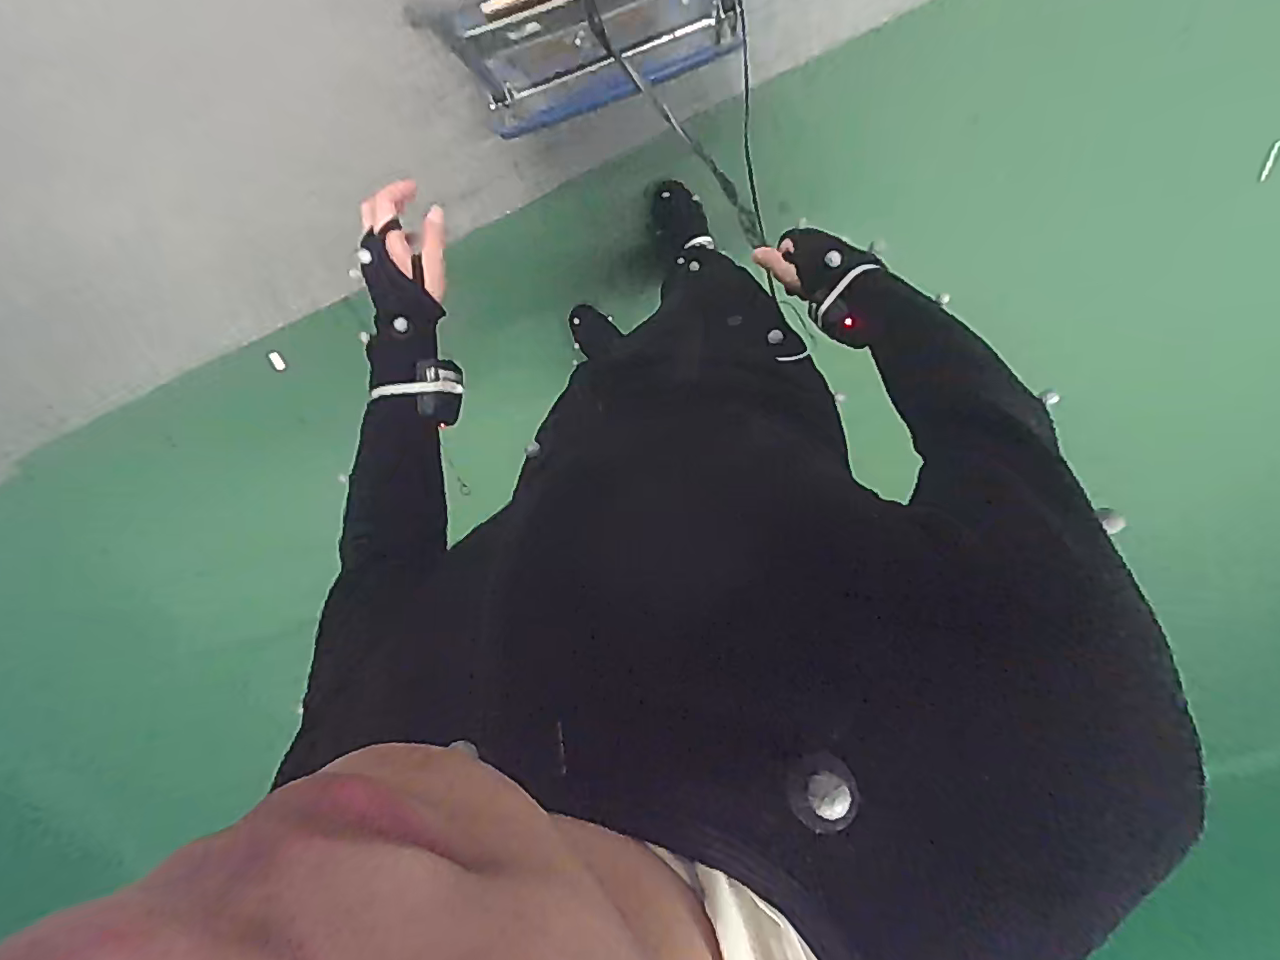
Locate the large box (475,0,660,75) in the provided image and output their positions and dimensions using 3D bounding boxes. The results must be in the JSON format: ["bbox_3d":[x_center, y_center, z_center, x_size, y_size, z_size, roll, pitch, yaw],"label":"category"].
[{"bbox_3d":[-0.164,-1.007,0.913,0.320,0.320,0.408,-16,112,5],"label":"large box"}]
